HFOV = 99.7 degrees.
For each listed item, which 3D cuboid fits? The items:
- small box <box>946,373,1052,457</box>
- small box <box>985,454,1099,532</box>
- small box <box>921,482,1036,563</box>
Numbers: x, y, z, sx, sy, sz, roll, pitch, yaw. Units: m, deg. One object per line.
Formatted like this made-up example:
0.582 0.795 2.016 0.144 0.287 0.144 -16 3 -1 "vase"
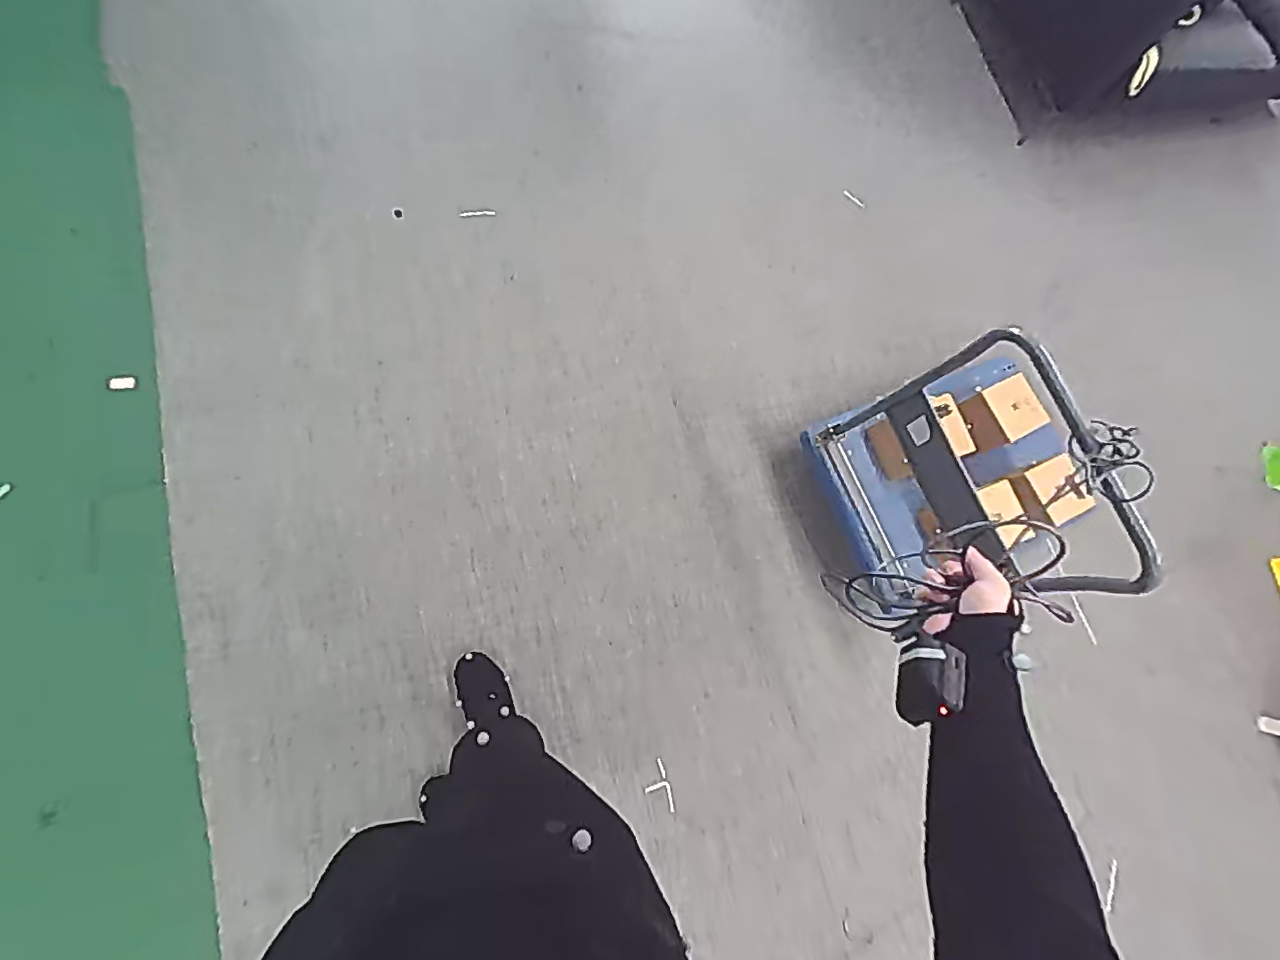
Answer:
1.049 -0.187 1.601 0.179 0.176 0.168 -23 82 -18 "small box"
1.146 0.046 1.558 0.179 0.176 0.168 -22 80 -17 "small box"
0.924 0.121 1.489 0.179 0.176 0.168 -18 80 -16 "small box"
